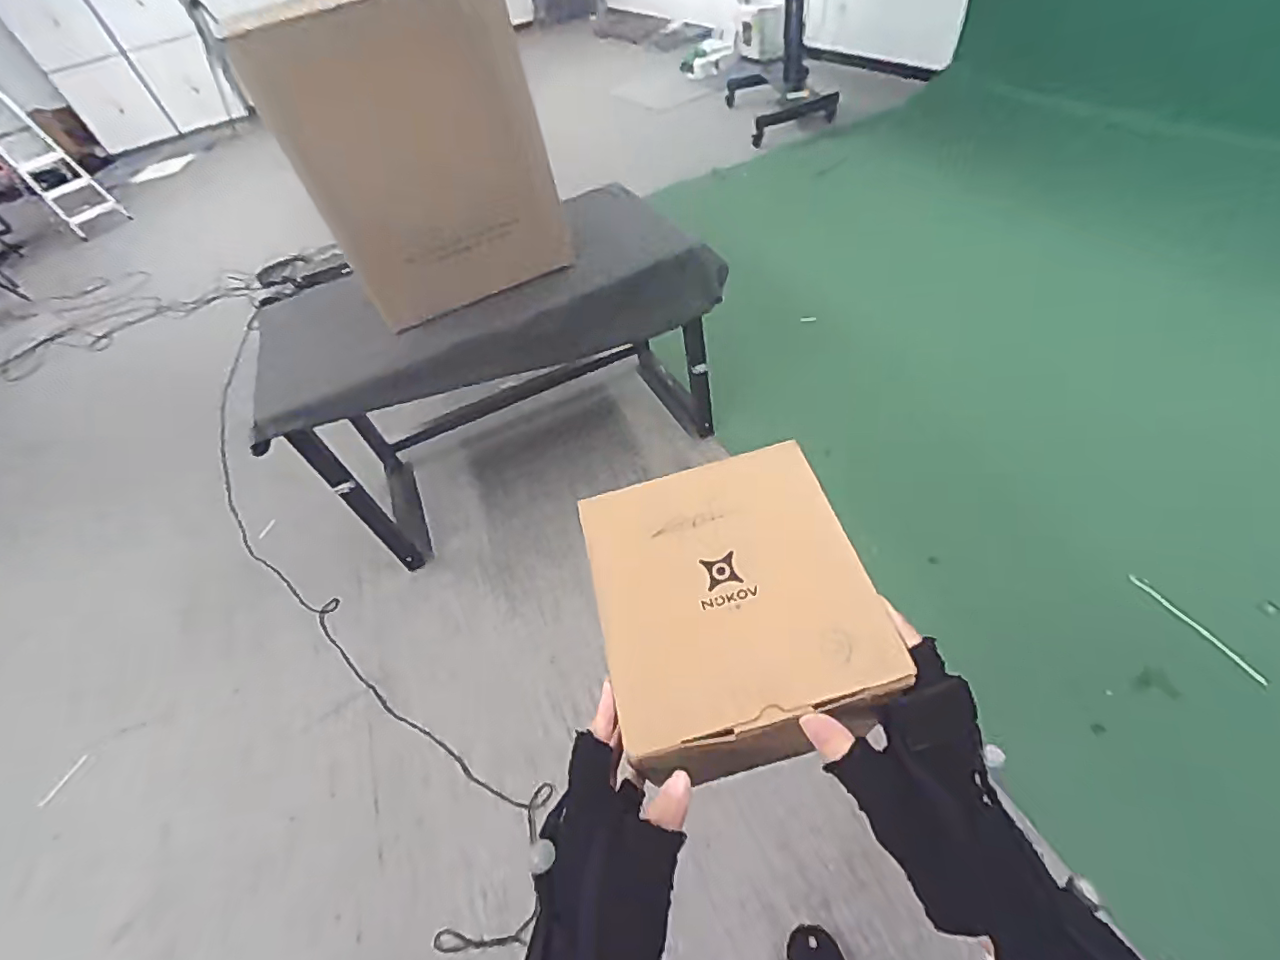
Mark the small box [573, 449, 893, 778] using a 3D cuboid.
[{"bbox_3d":[0.060,0.111,0.413,0.168,0.176,0.179,-16,53,-1],"label":"small box"}]
